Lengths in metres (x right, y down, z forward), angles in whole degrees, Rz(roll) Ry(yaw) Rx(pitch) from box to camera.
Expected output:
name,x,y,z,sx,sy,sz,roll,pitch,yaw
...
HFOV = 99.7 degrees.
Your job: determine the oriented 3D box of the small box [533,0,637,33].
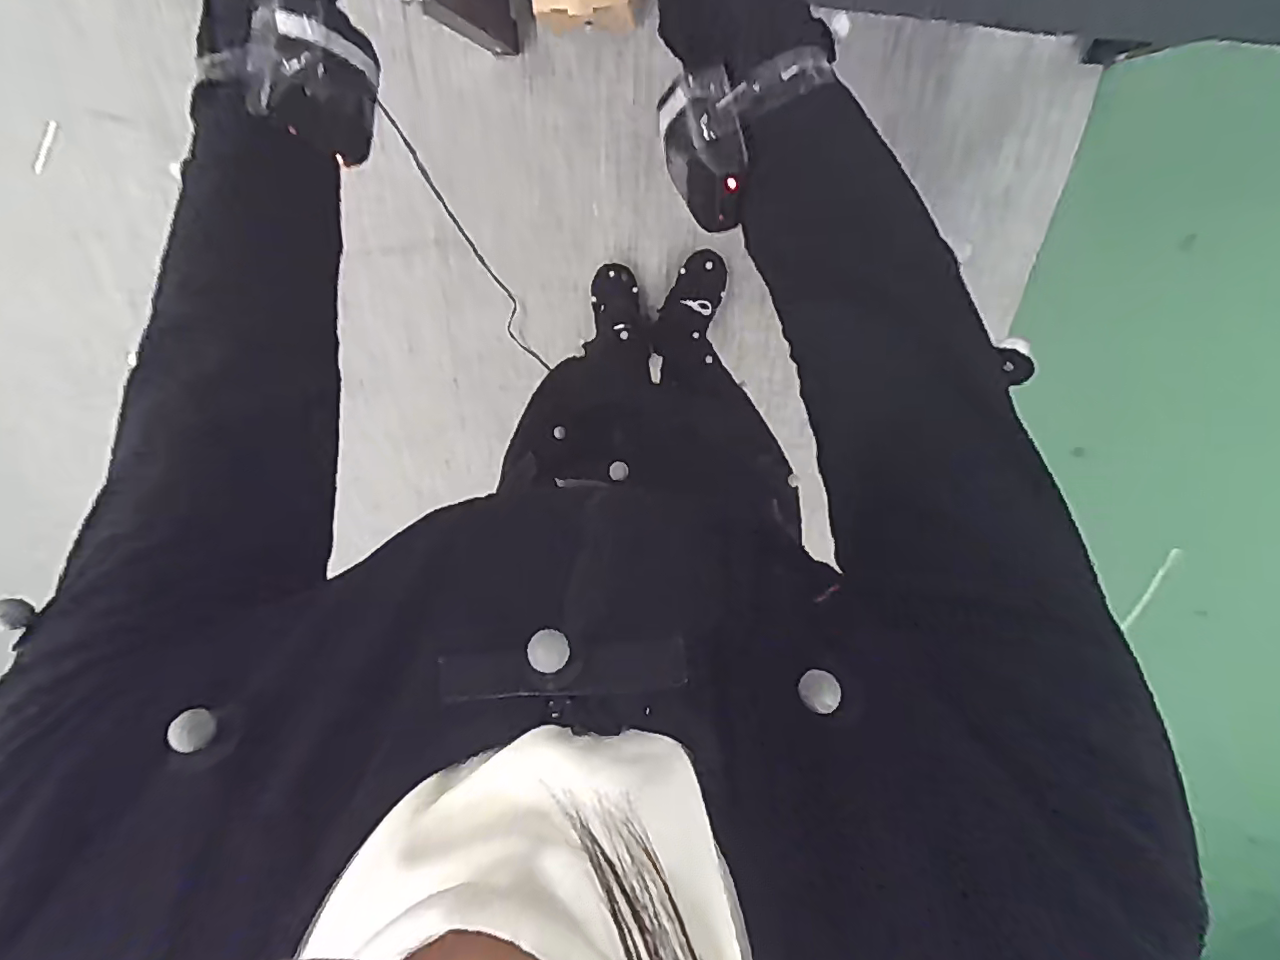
name,x,y,z,sx,sy,sz,roll,pitch,yaw
small box,-0.094,-0.901,0.939,0.168,0.176,0.179,1,120,4
